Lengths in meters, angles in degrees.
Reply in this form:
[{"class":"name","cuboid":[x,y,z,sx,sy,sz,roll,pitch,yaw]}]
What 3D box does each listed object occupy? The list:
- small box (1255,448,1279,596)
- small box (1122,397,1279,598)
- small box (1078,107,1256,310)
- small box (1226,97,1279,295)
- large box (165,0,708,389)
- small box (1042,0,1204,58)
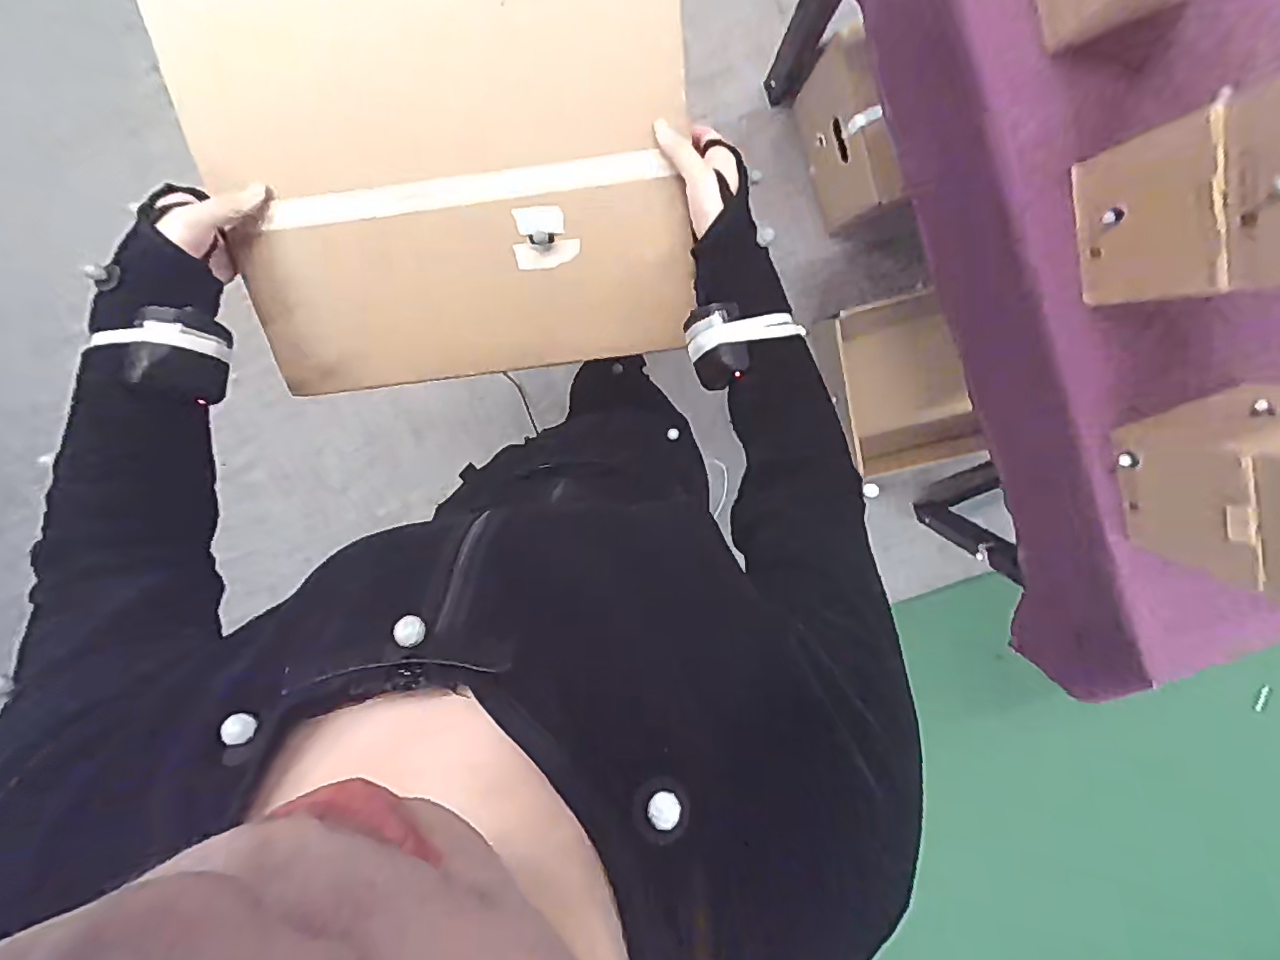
[{"class":"small box","cuboid":[0.721,0.051,0.479,0.168,0.176,0.179,-19,102,5]},{"class":"small box","cuboid":[0.721,0.010,0.638,0.179,0.176,0.168,-20,102,5]},{"class":"small box","cuboid":[0.617,-0.287,0.570,0.179,0.176,0.168,-15,103,6]},{"class":"small box","cuboid":[0.621,-0.249,0.409,0.179,0.176,0.168,-14,103,5]},{"class":"large box","cuboid":[-0.157,-0.311,0.601,0.408,0.320,0.320,-7,114,0]},{"class":"small box","cuboid":[0.507,-0.556,0.504,0.168,0.176,0.179,-20,102,7]}]
